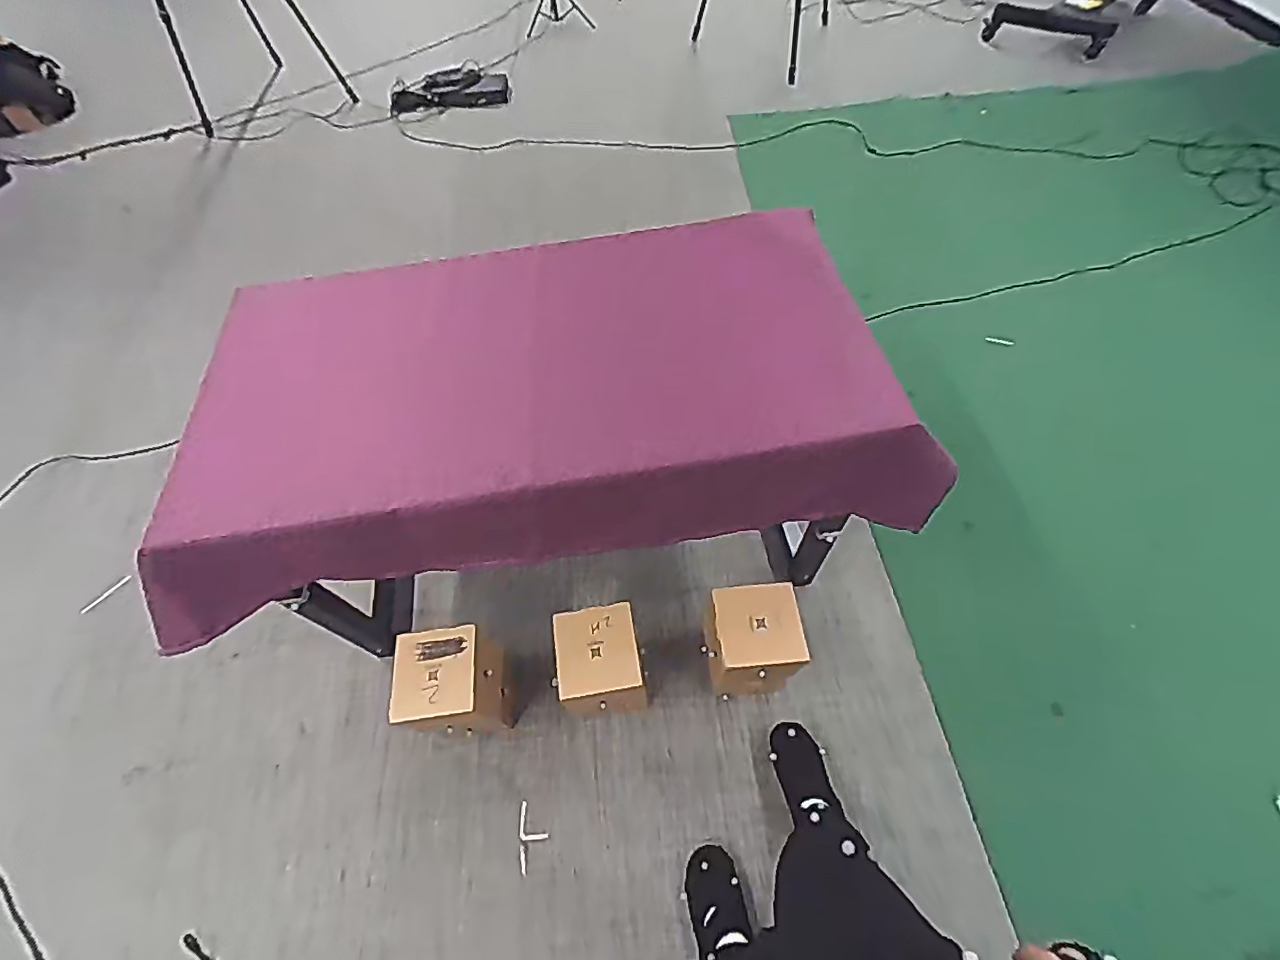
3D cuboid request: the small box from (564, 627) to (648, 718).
[{"bbox_3d":[-0.080,0.472,1.316,0.179,0.176,0.168,-8,58,-2],"label":"small box"}]
